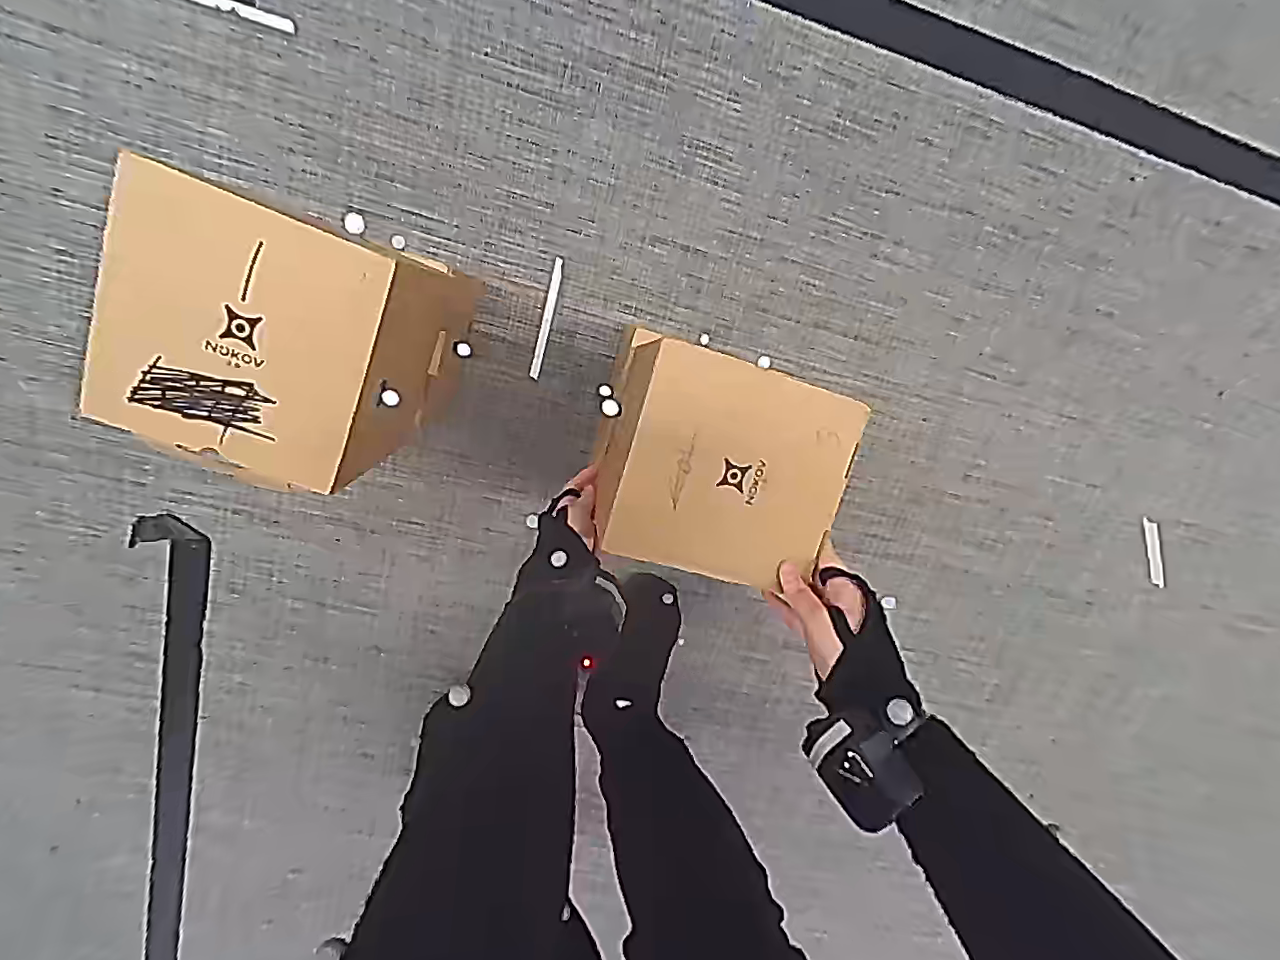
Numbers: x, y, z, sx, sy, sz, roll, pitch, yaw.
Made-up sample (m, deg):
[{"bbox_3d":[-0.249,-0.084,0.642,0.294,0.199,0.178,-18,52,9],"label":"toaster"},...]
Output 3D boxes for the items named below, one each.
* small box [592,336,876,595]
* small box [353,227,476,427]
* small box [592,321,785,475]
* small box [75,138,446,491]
[{"bbox_3d":[0.064,-0.021,0.483,0.179,0.176,0.168,16,99,-11],"label":"small box"},{"bbox_3d":[-0.288,-0.174,0.580,0.179,0.176,0.168,16,105,-11],"label":"small box"},{"bbox_3d":[0.042,-0.080,0.642,0.168,0.176,0.179,16,105,-10],"label":"small box"},{"bbox_3d":[-0.270,-0.118,0.426,0.168,0.176,0.179,20,103,-12],"label":"small box"}]
